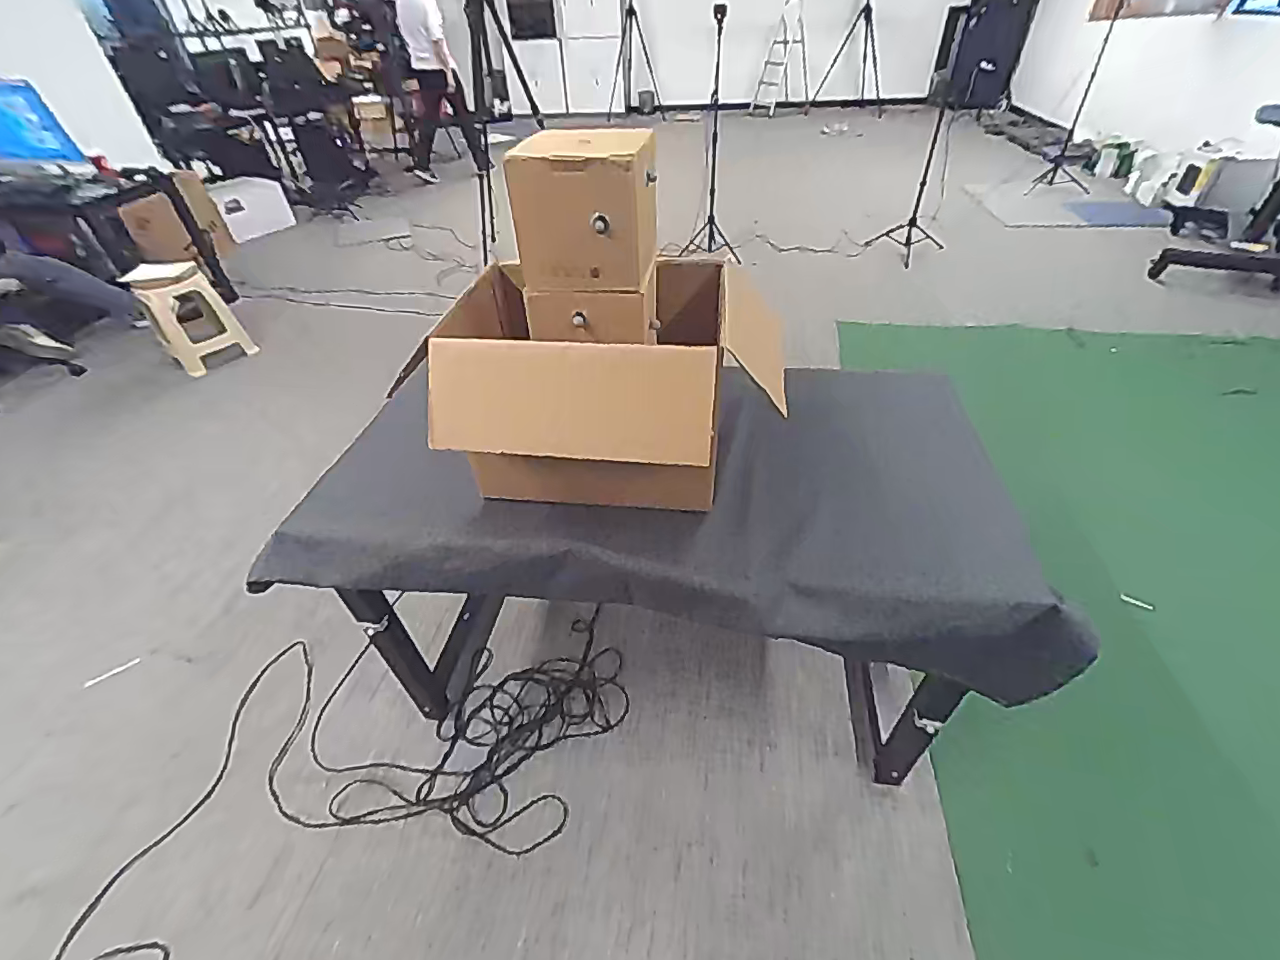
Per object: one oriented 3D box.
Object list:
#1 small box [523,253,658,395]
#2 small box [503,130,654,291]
[{"bbox_3d":[-0.066,-0.249,0.858,0.179,0.176,0.168,3,42,7],"label":"small box"},{"bbox_3d":[-0.071,-0.376,0.757,0.168,0.176,0.179,5,41,8],"label":"small box"}]
